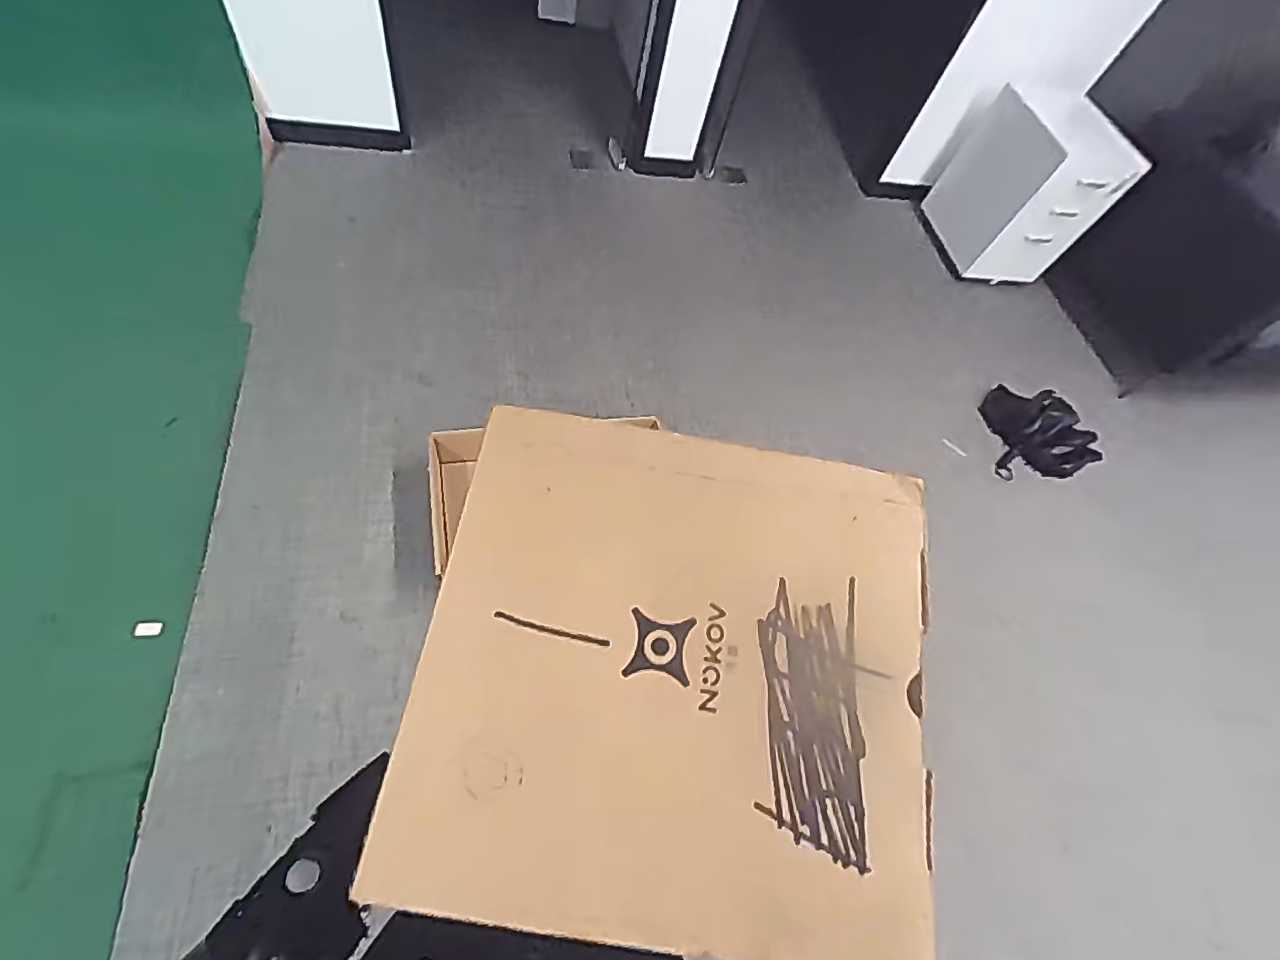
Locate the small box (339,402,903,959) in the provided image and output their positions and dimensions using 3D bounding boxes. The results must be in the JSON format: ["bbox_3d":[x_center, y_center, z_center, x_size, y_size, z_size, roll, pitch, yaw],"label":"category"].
[{"bbox_3d":[0.002,0.086,0.266,0.179,0.176,0.168,11,69,0],"label":"small box"}]
